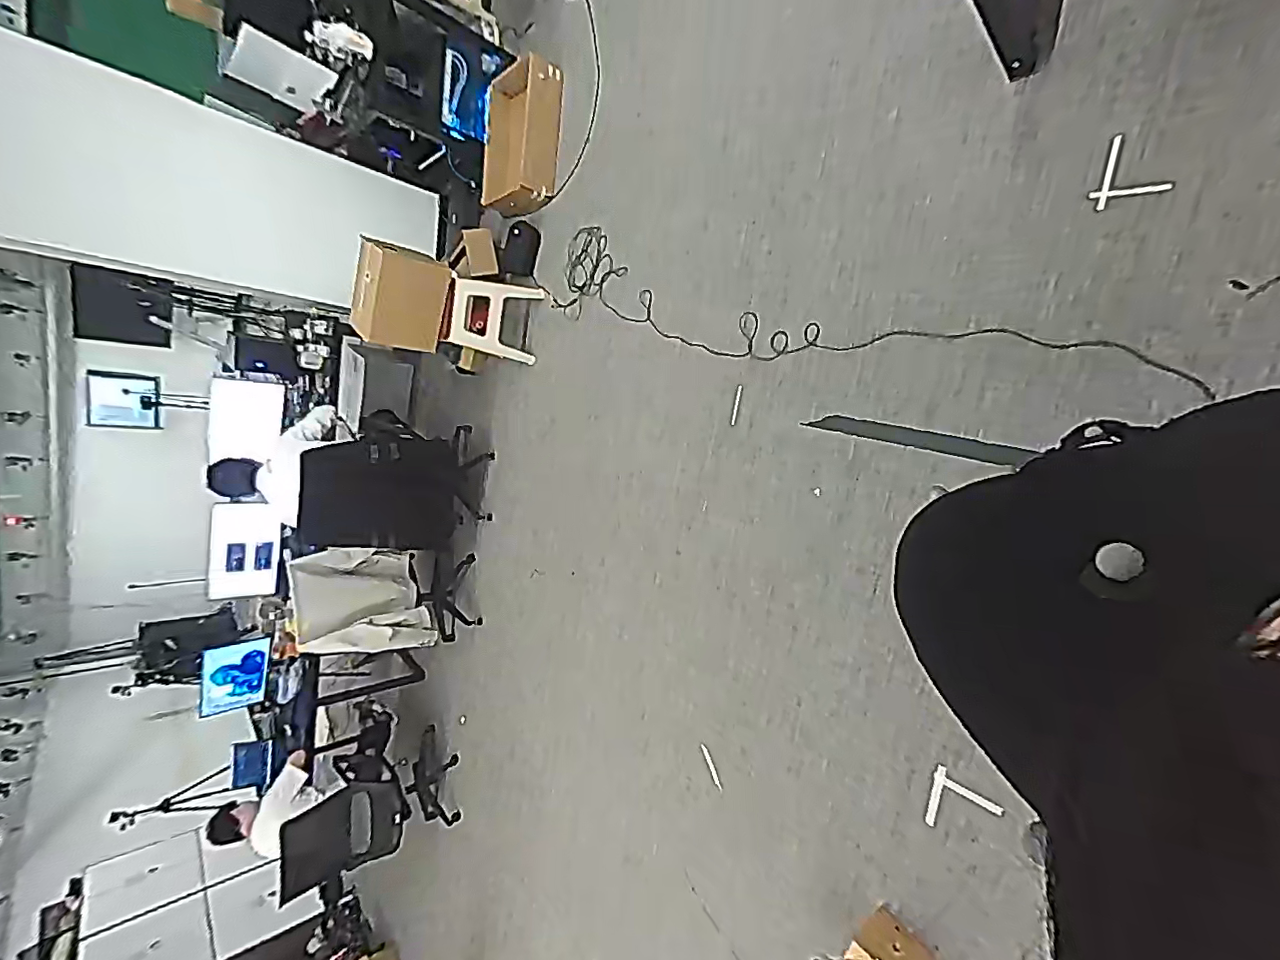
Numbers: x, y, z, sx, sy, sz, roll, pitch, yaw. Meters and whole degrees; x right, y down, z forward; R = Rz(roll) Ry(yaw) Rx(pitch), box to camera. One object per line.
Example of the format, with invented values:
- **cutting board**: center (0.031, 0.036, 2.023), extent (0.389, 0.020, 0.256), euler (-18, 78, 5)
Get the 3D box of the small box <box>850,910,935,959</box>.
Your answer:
- **small box**: center (0.672, 1.319, 1.450), extent (0.168, 0.176, 0.179), euler (31, 112, 43)
